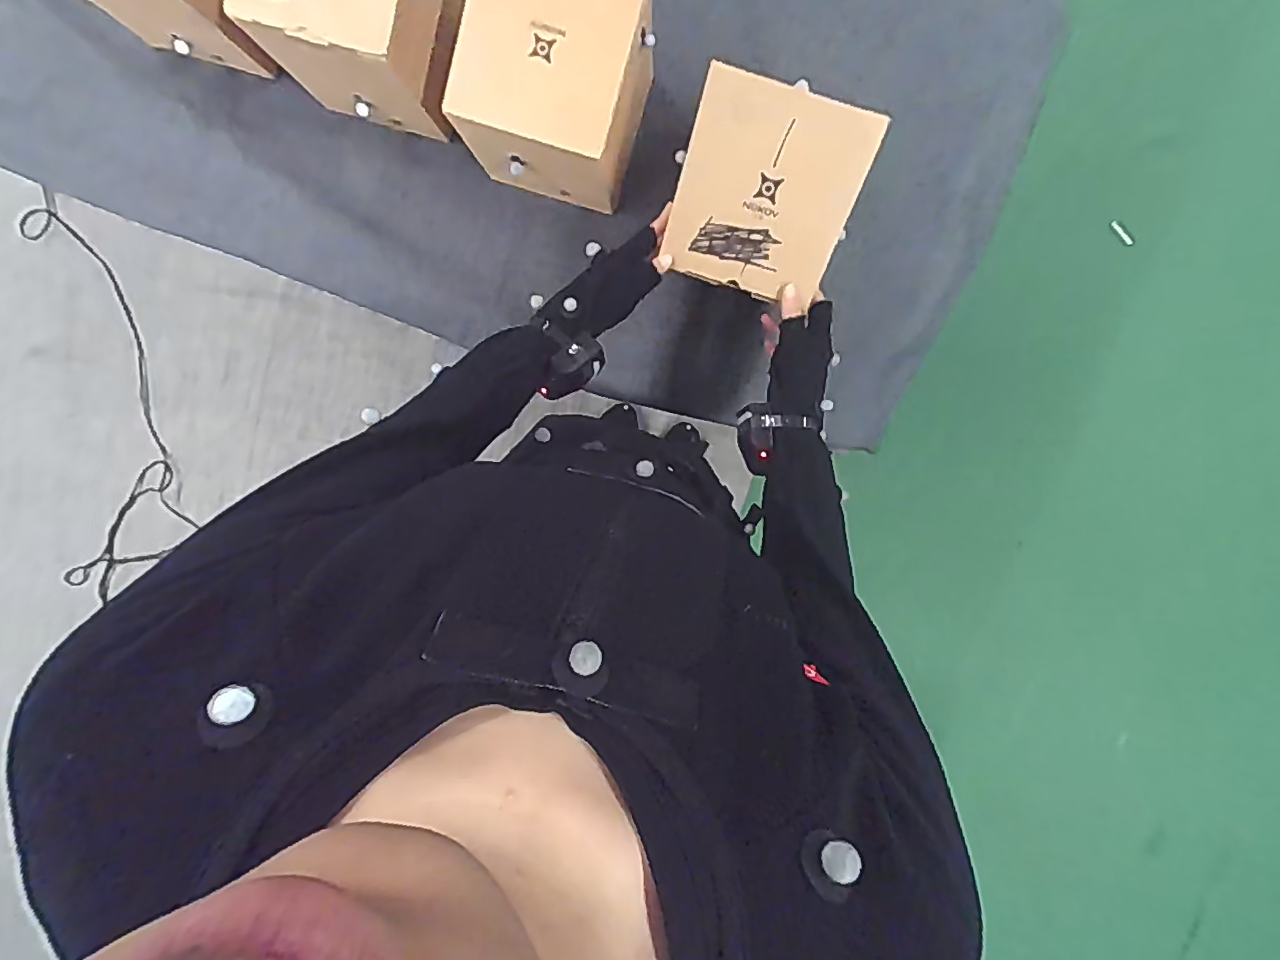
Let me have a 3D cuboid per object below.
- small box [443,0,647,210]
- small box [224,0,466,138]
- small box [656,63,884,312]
[{"bbox_3d":[-0.090,-0.430,0.599,0.168,0.176,0.179,16,97,-1],"label":"small box"},{"bbox_3d":[-0.296,-0.520,0.587,0.168,0.176,0.179,16,98,-1],"label":"small box"},{"bbox_3d":[0.128,-0.310,0.581,0.168,0.176,0.179,17,123,-1],"label":"small box"}]
